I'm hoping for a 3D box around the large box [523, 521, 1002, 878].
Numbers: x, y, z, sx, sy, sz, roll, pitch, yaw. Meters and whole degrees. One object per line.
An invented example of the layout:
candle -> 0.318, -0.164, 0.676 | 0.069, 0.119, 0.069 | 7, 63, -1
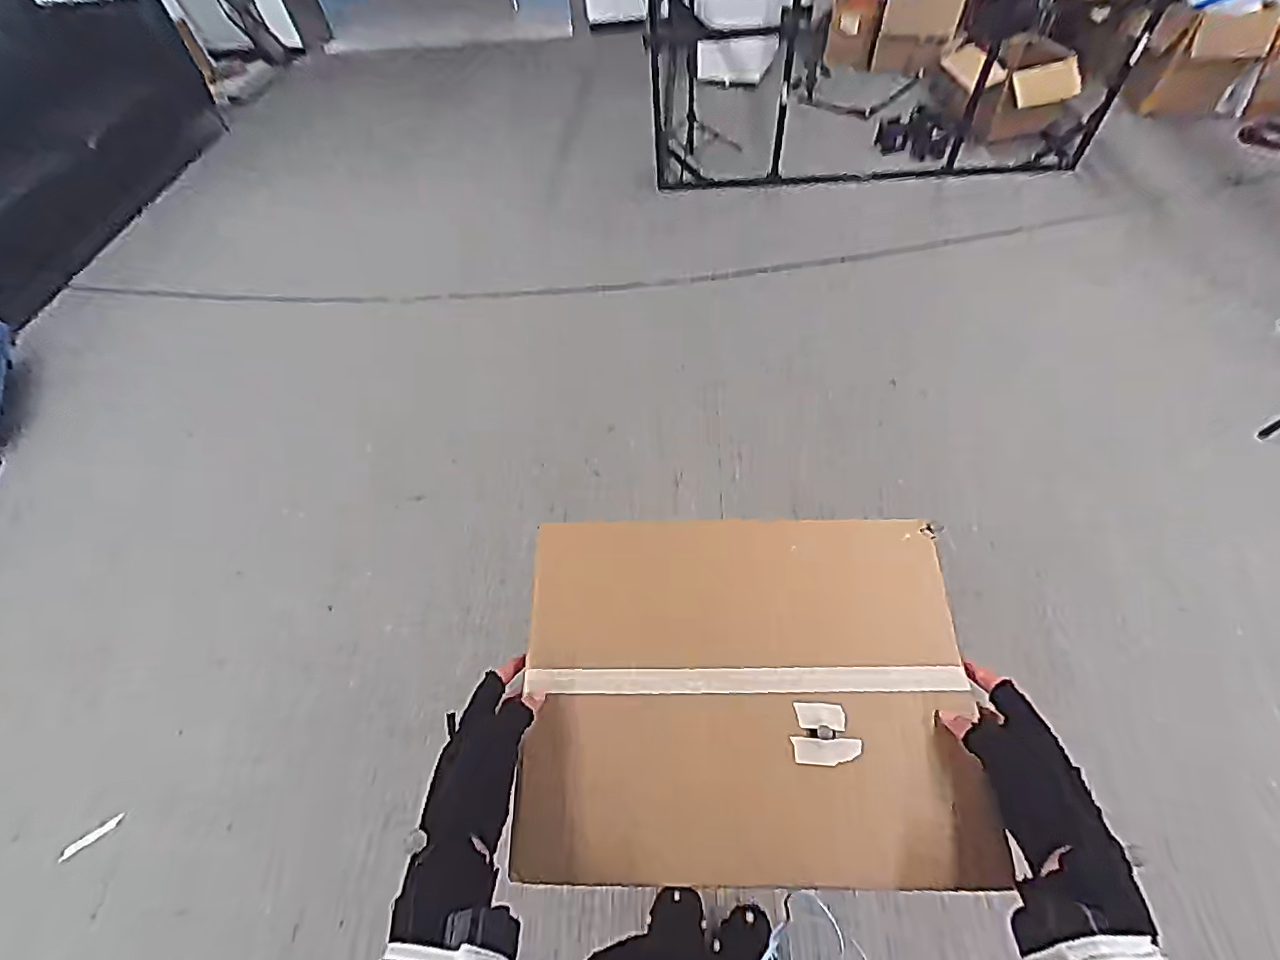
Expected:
large box -> 0.101, 0.253, 0.643 | 0.408, 0.320, 0.320 | -1, 64, 2
